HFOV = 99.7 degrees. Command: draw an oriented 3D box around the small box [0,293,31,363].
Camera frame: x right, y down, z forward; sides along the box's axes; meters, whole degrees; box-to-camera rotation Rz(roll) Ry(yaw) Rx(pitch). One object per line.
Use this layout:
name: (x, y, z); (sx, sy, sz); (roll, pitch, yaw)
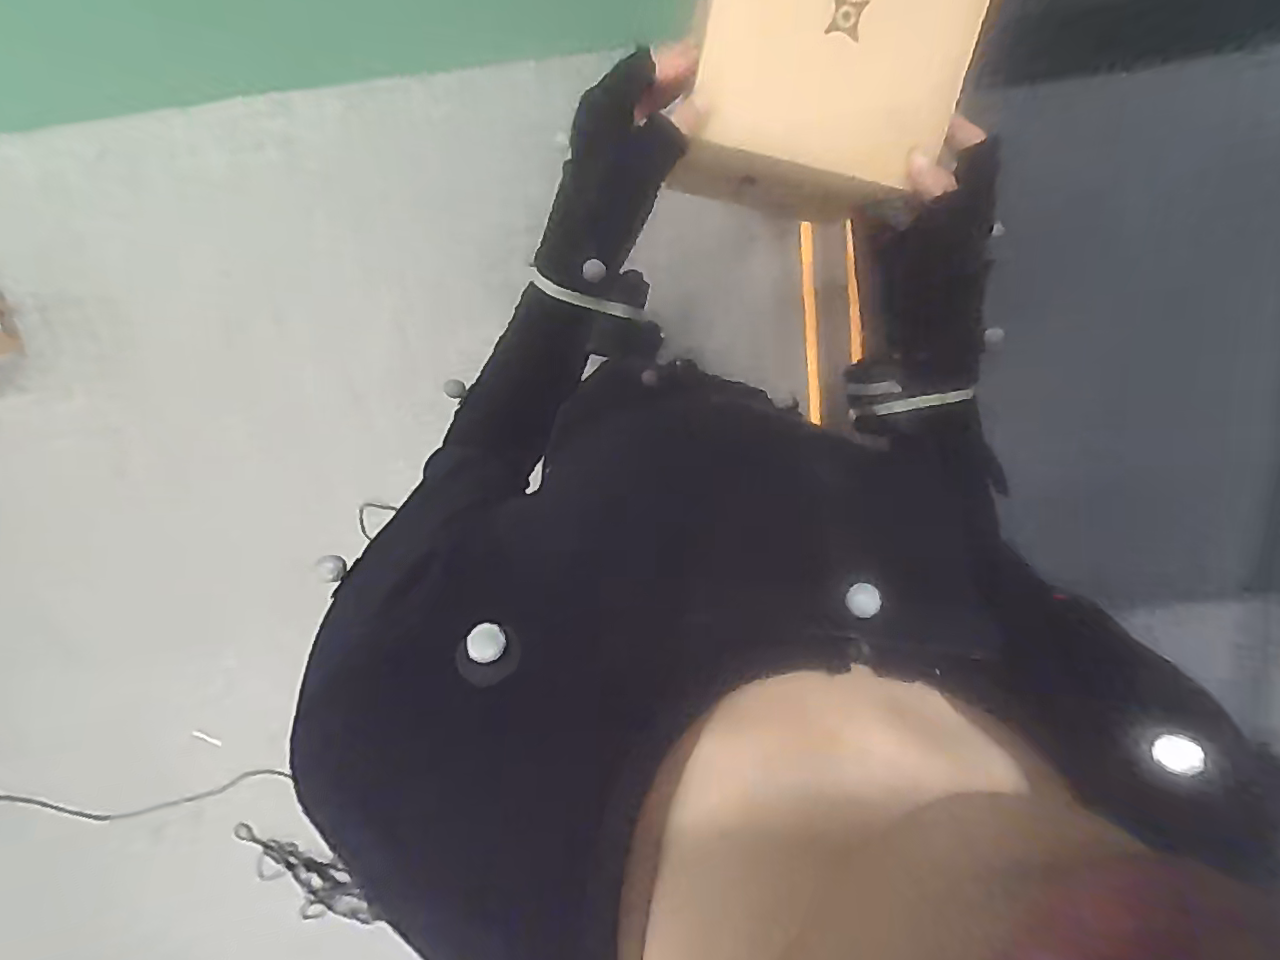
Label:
small box: (-1.639, -0.357, 1.280); (0.179, 0.176, 0.168); (-8, 104, 0)
